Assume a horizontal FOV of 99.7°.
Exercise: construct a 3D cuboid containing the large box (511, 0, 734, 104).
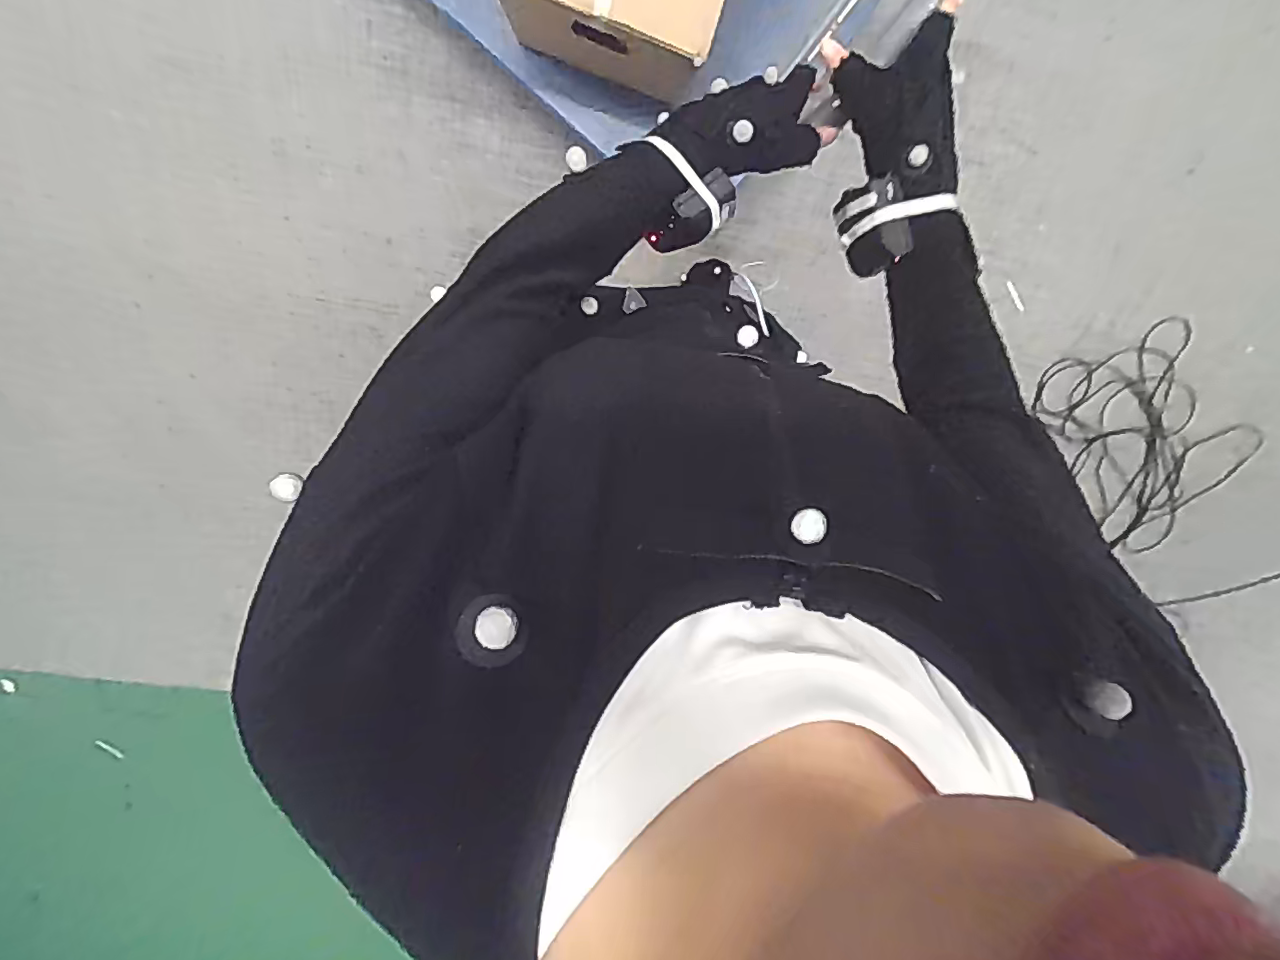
[{"bbox_3d":[0.006,-0.861,0.798,0.320,0.320,0.408,15,114,-10],"label":"large box"}]
